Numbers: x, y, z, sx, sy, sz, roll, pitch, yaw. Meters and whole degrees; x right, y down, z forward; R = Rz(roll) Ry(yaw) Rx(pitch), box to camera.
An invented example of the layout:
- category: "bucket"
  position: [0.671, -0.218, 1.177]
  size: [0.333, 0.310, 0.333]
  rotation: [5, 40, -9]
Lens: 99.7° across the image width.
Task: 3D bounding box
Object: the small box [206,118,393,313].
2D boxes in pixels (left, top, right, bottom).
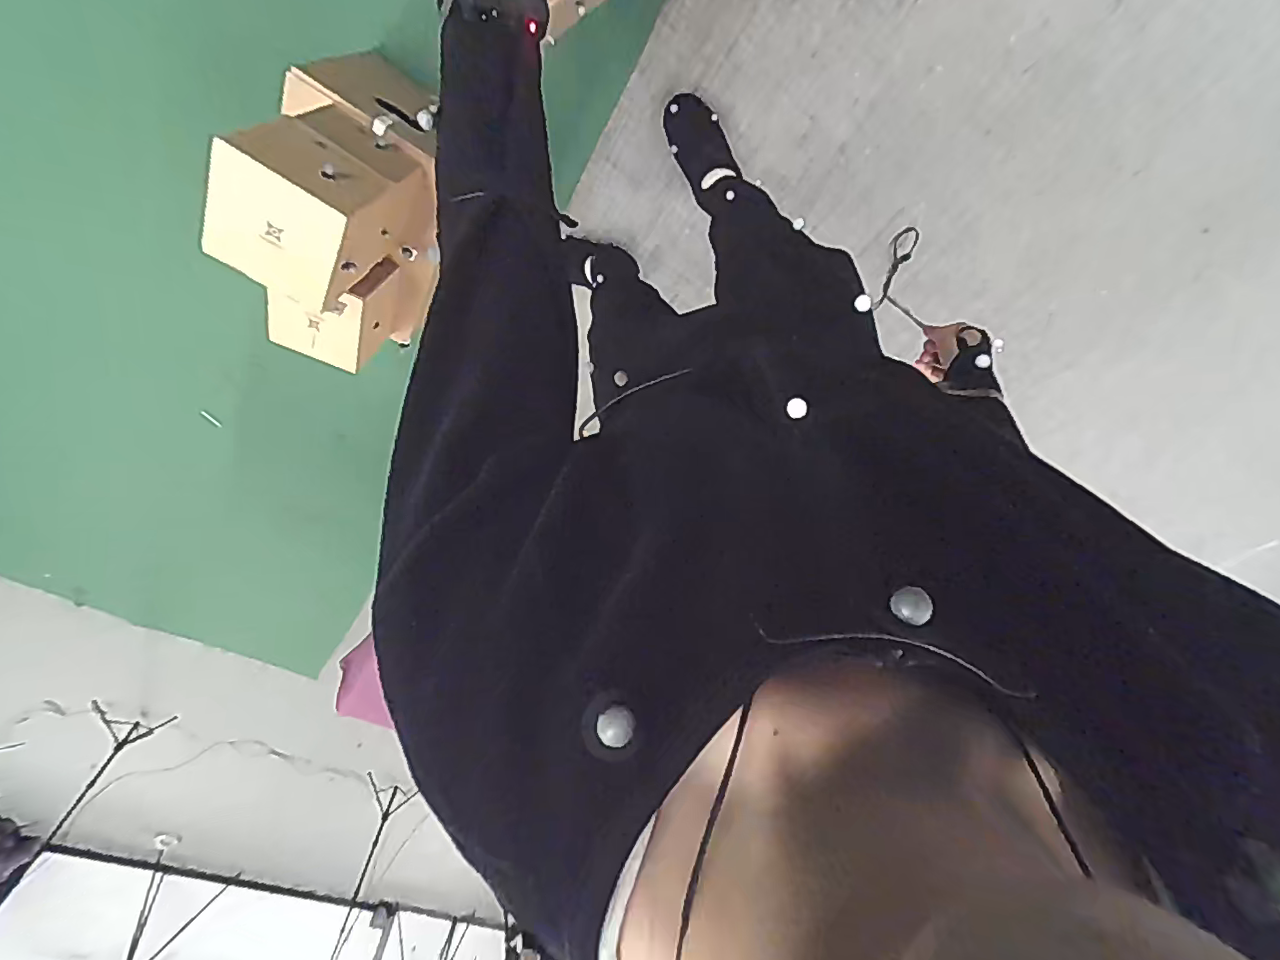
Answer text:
- category: "small box"
  position: [-0.493, -0.393, 0.800]
  size: [0.168, 0.176, 0.179]
  rotation: [29, 129, -20]
